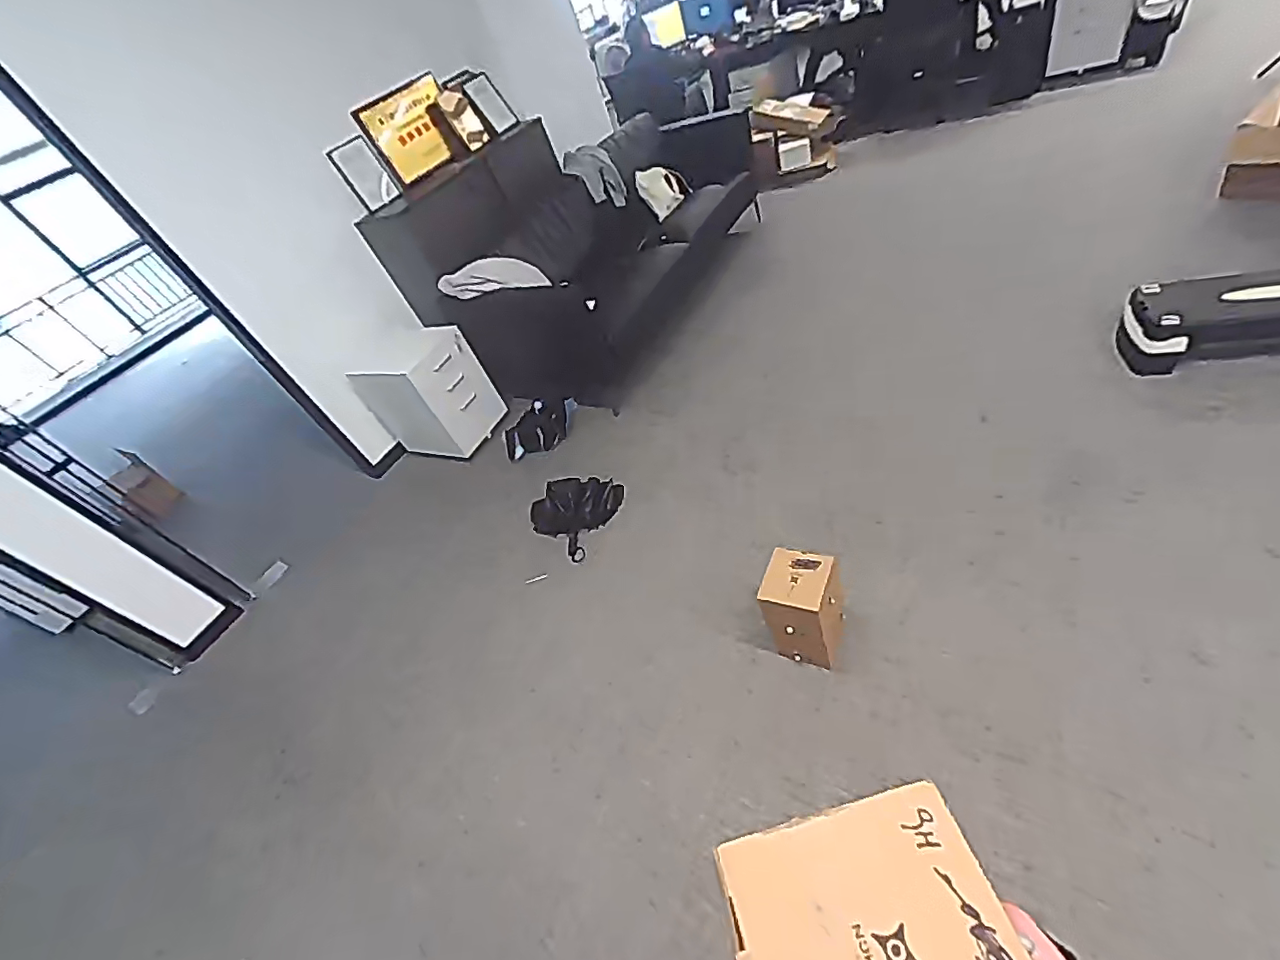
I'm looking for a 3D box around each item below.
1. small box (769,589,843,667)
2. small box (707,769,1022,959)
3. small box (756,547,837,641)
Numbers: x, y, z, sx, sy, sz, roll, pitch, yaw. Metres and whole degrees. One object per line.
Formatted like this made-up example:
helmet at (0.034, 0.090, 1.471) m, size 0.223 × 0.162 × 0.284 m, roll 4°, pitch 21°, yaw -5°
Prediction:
small box at (0.500, 0.423, 1.608) m, size 0.168 × 0.176 × 0.179 m, roll 7°, pitch 51°, yaw 33°
small box at (0.161, 0.354, 0.418) m, size 0.179 × 0.176 × 0.168 m, roll -14°, pitch 48°, yaw -4°
small box at (0.441, 0.314, 1.498) m, size 0.168 × 0.176 × 0.179 m, roll 7°, pitch 50°, yaw 33°
